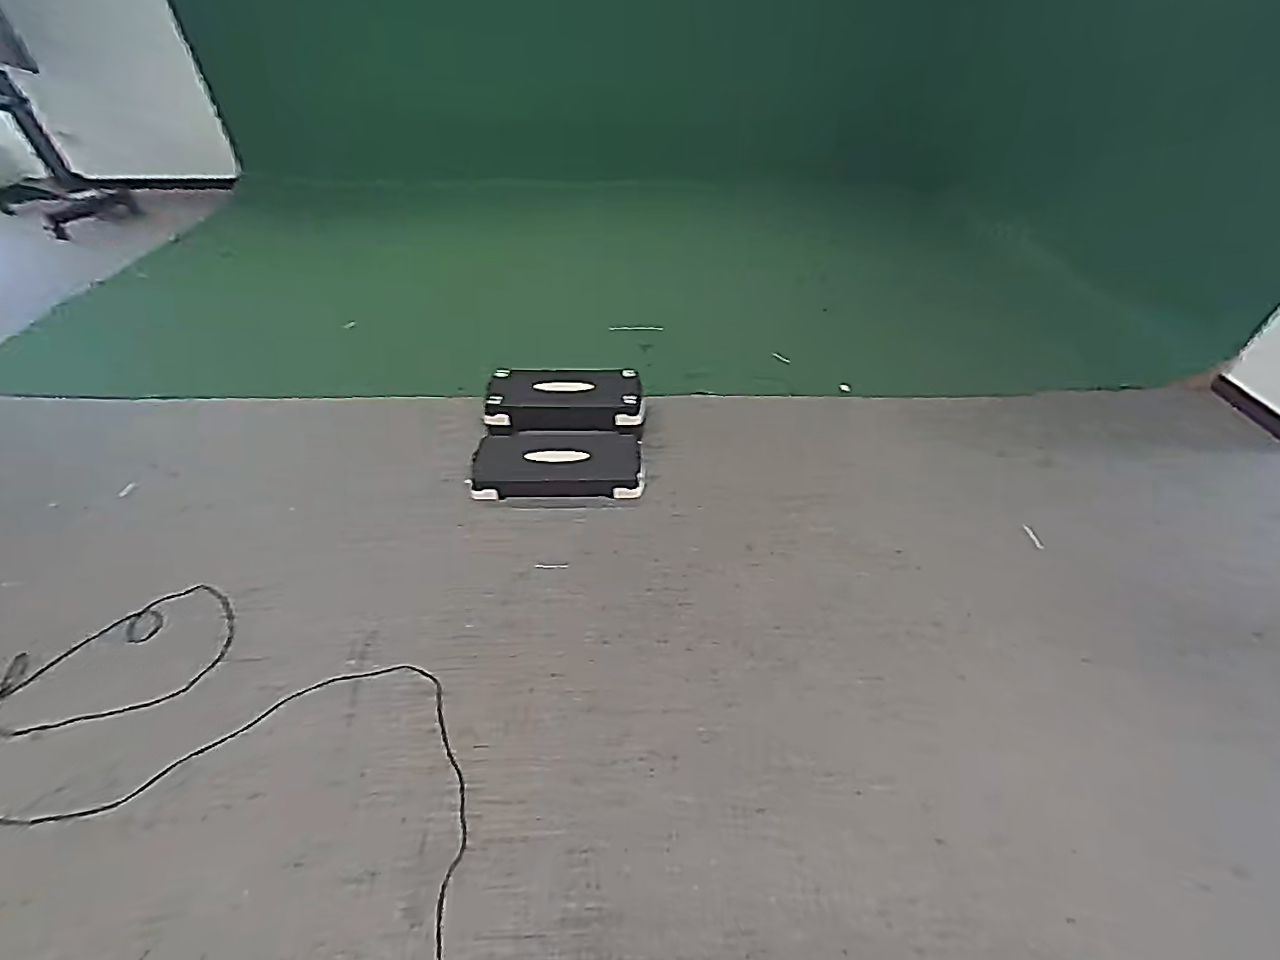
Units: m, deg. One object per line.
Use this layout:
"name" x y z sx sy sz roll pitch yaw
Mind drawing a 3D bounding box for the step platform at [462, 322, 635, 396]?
"step platform" -0.362 -0.501 2.241 0.684 0.204 0.286 -1 45 -1
